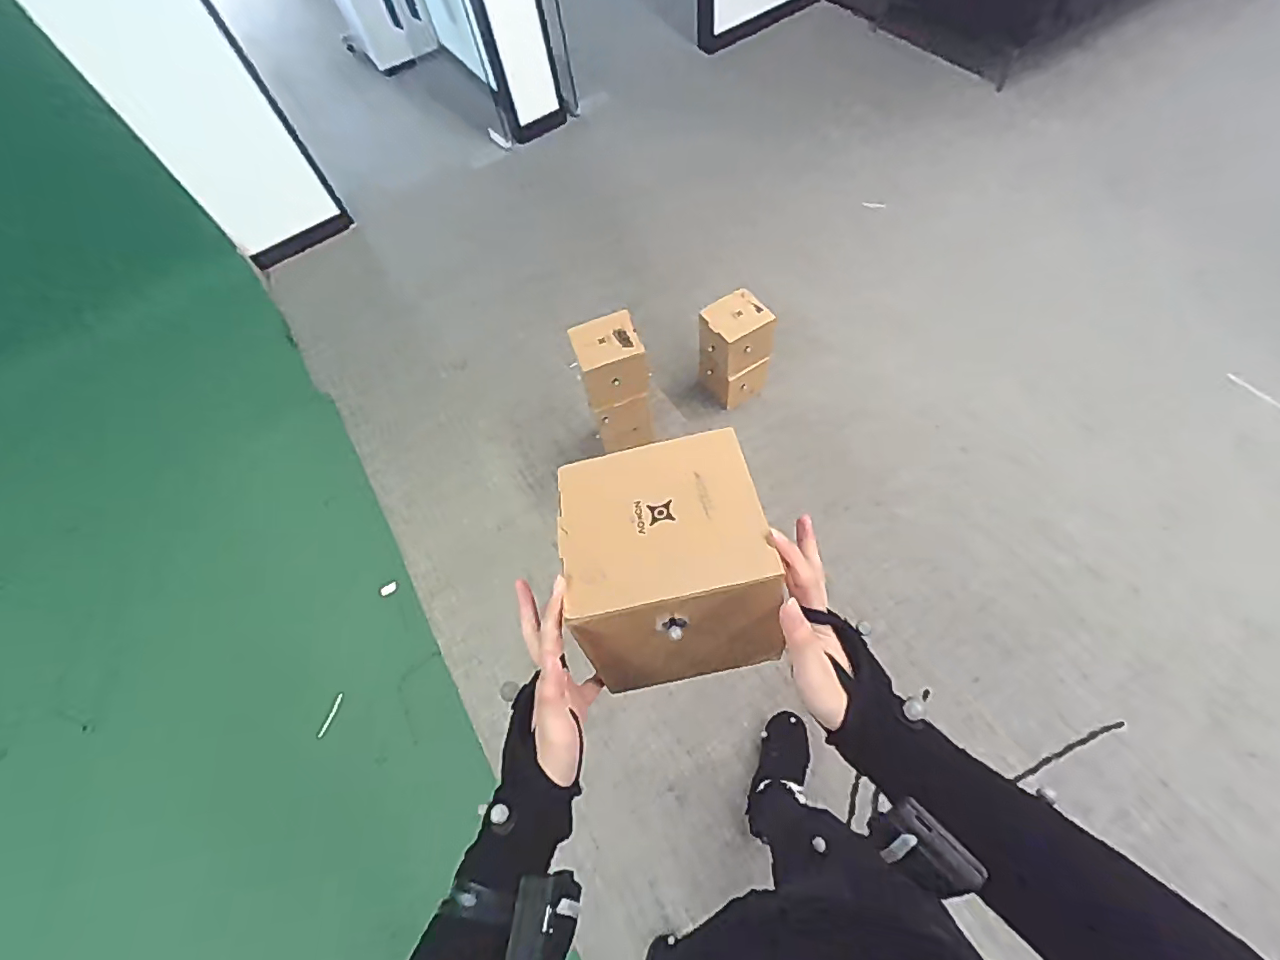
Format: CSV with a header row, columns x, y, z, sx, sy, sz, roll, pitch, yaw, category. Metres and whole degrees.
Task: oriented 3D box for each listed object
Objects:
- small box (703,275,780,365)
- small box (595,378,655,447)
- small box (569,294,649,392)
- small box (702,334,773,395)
x,y,z,sx,sy,sz,roll,pitch,yaw,category
0.313,-0.491,1.680,0.179,0.176,0.168,-28,64,-7,small box
-0.048,-0.222,1.764,0.168,0.176,0.179,-12,62,0,small box
-0.078,-0.369,1.472,0.179,0.176,0.168,-17,62,-2,small box
0.326,-0.411,1.823,0.168,0.176,0.179,-30,63,-9,small box
